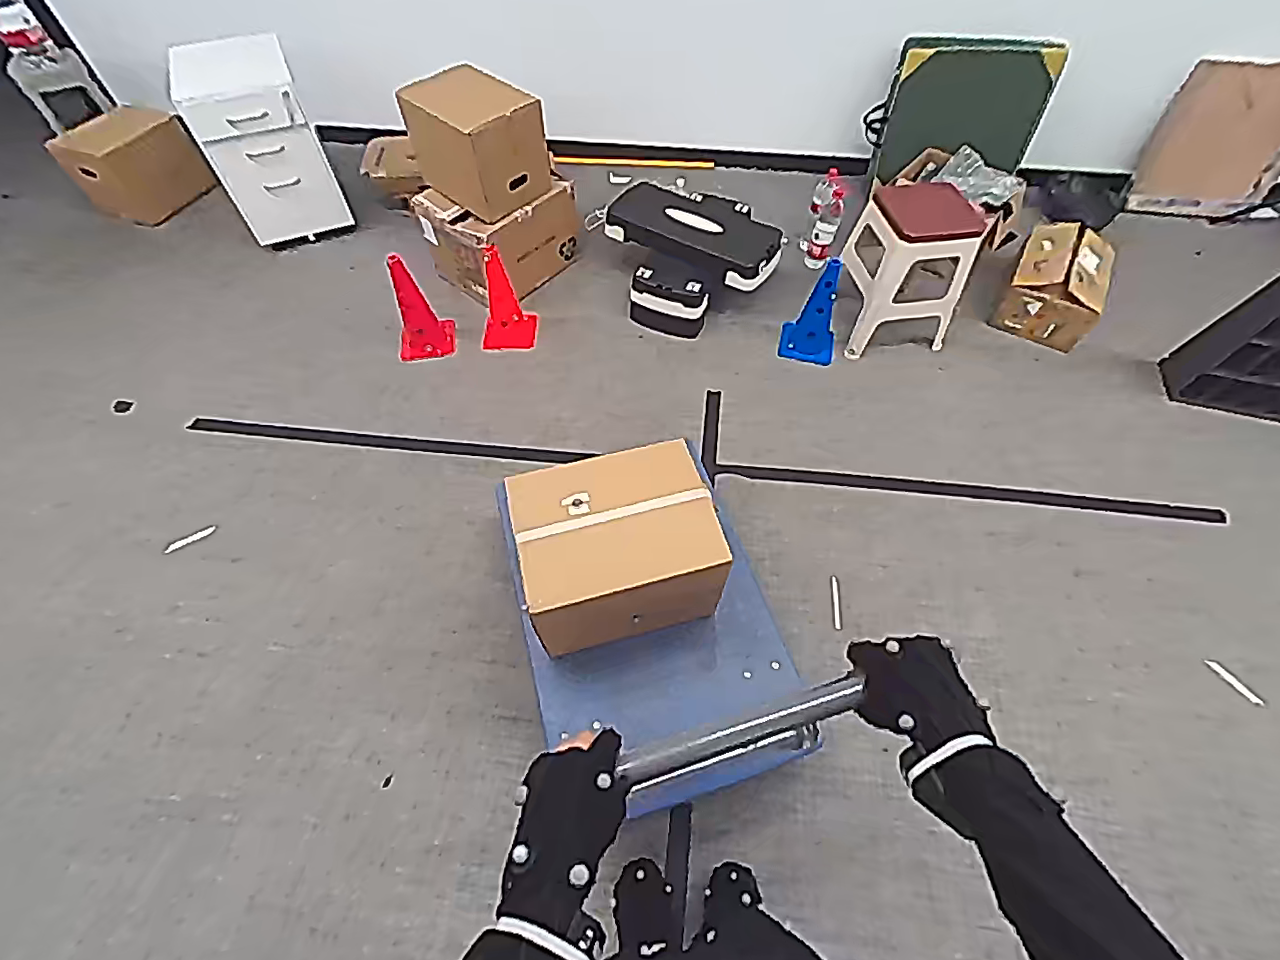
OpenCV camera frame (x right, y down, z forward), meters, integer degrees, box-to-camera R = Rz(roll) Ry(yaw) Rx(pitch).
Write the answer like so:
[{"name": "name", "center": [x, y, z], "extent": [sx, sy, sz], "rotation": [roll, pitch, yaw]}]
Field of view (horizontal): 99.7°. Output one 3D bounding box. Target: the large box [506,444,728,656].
[{"name": "large box", "center": [-0.055, 0.168, 1.239], "extent": [0.408, 0.320, 0.320], "rotation": [-14, 58, -8]}]
